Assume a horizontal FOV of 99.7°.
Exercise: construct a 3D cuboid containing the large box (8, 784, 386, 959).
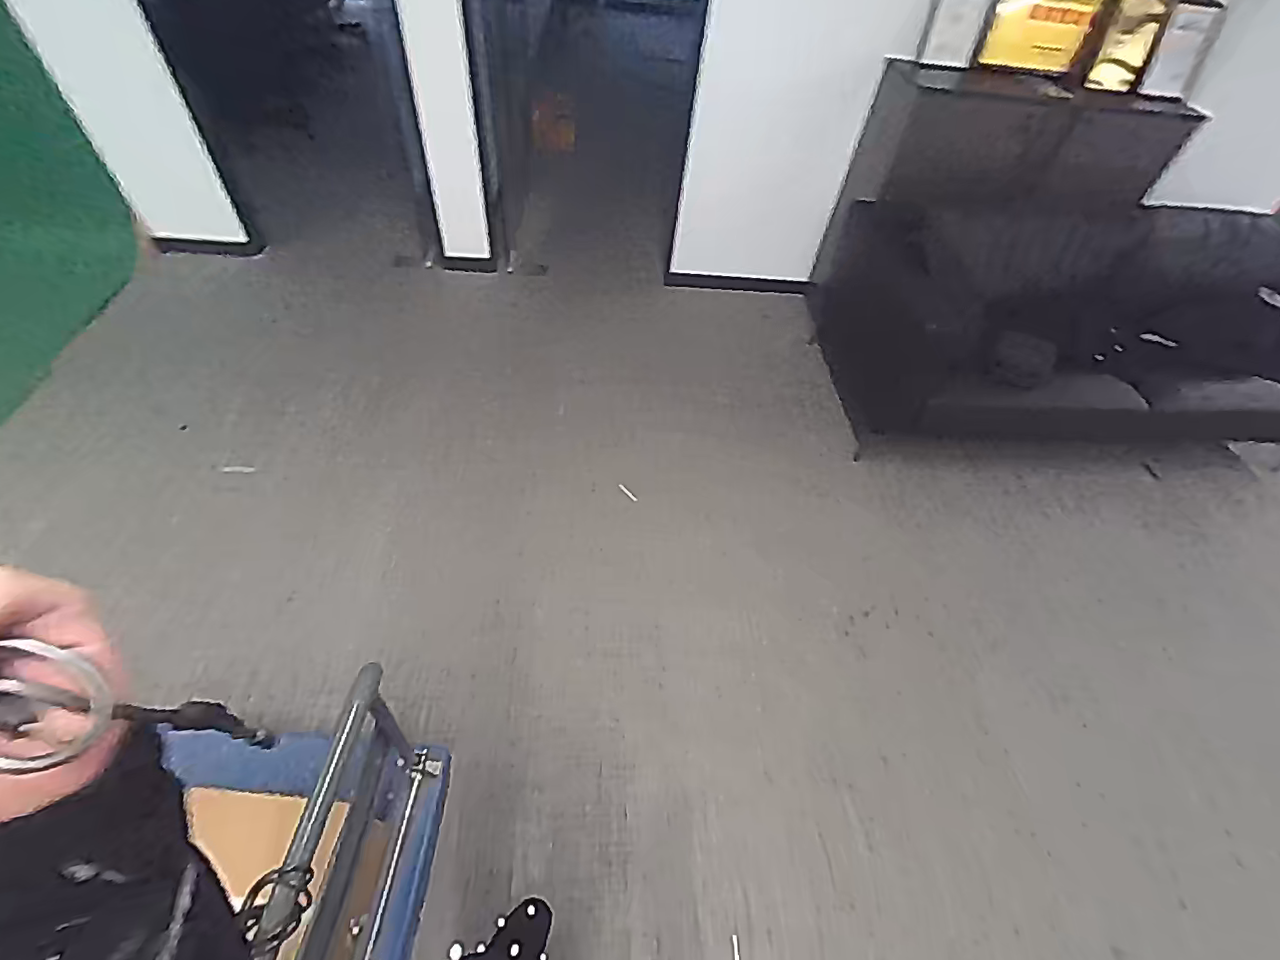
[{"bbox_3d":[-0.739,0.759,0.966,0.408,0.320,0.320,7,50,-2],"label":"large box"}]
